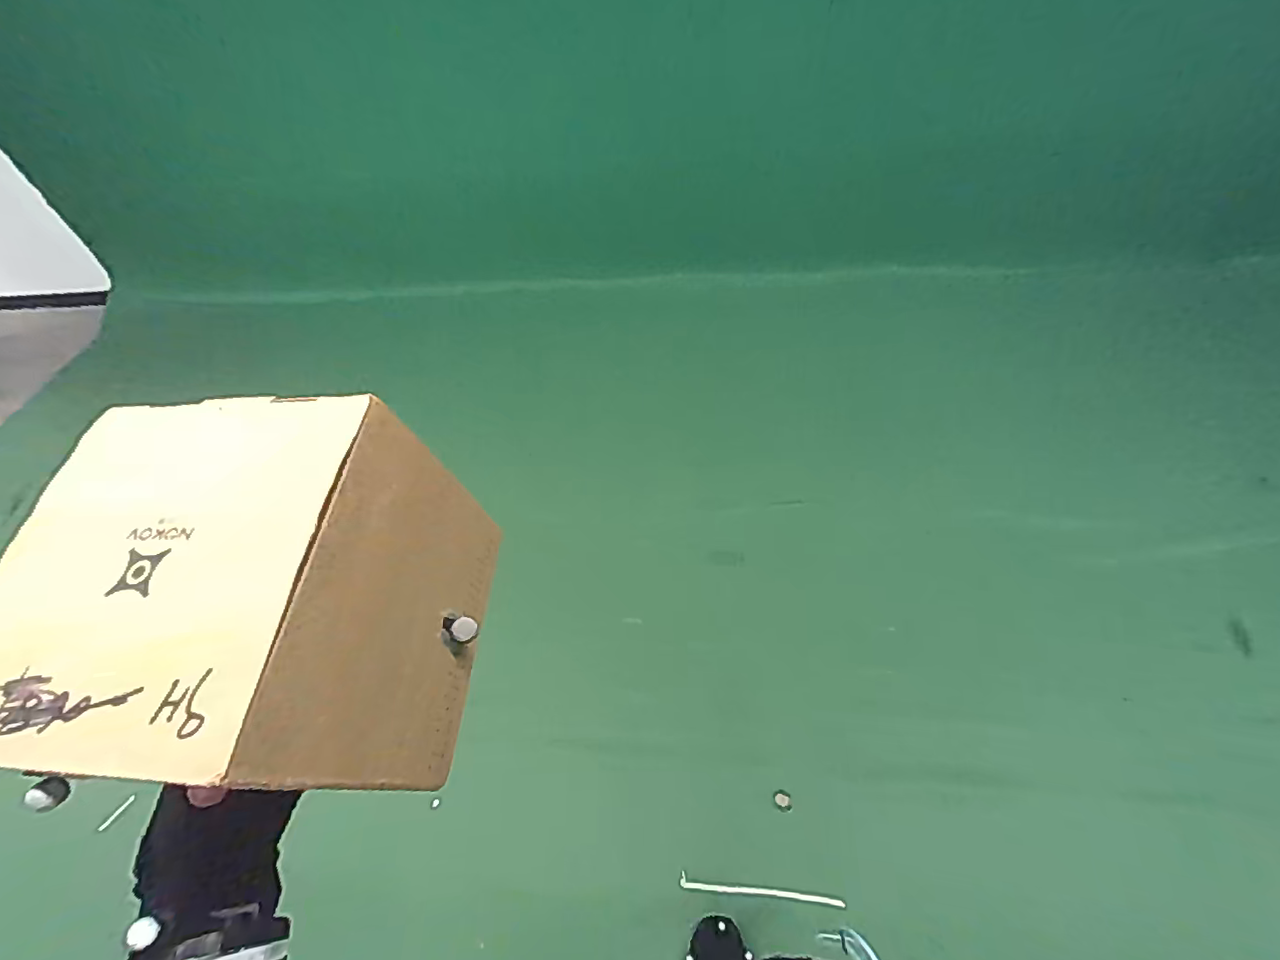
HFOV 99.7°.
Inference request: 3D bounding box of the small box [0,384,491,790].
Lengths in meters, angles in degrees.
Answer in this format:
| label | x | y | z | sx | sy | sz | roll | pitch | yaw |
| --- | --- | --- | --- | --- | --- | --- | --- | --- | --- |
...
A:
| label | x | y | z | sx | sy | sz | roll | pitch | yaw |
| --- | --- | --- | --- | --- | --- | --- | --- | --- | --- |
| small box | -0.203 | 0.069 | 0.308 | 0.168 | 0.176 | 0.179 | -2 | 60 | 12 |
